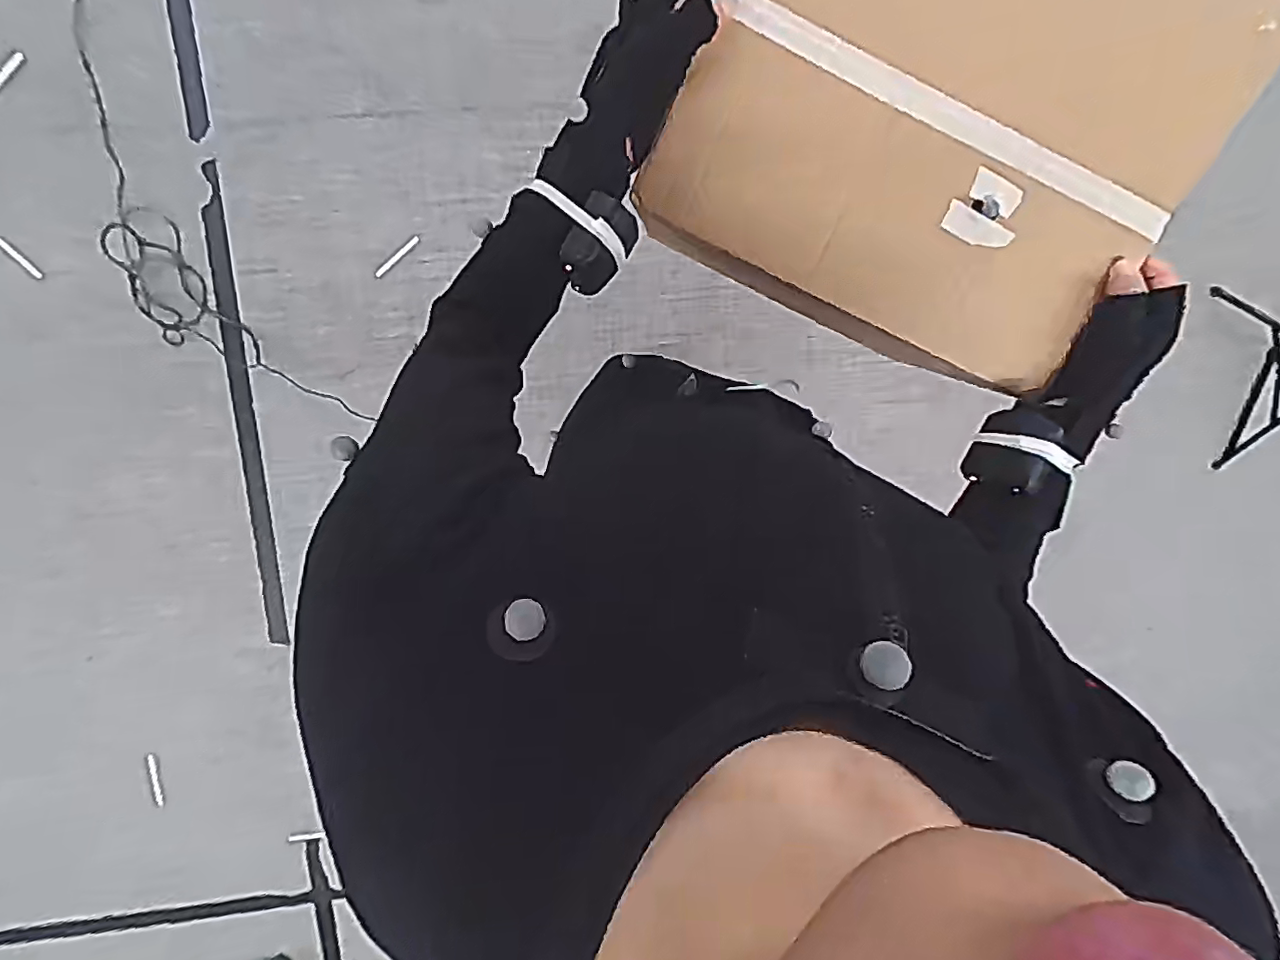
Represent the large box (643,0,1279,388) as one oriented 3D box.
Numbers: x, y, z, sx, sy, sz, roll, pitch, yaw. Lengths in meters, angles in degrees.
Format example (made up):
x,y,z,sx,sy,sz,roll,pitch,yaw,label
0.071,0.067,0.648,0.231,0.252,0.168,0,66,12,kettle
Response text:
x,y,z,sx,sy,sz,roll,pitch,yaw,label
0.247,-0.341,0.573,0.408,0.320,0.320,25,110,-6,large box
